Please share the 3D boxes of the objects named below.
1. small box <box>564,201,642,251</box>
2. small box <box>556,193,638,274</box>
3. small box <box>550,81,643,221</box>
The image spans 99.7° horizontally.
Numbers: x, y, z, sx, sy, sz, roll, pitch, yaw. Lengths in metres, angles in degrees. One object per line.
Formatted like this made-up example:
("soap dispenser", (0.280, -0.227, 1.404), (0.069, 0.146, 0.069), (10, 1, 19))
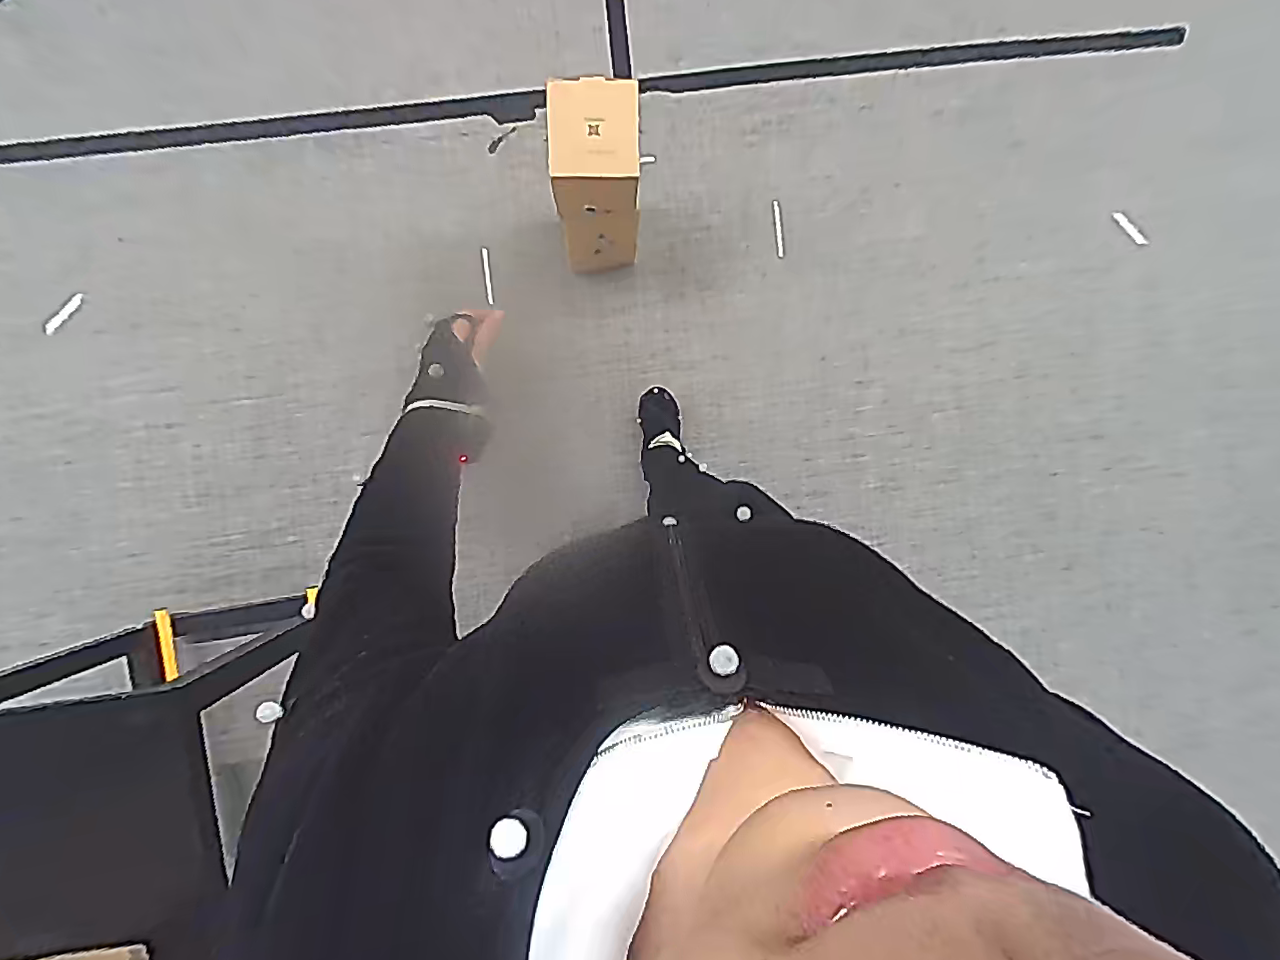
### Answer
("small box", (-0.091, -0.637, 1.207), (0.168, 0.176, 0.179), (-7, 93, -3))
("small box", (-0.105, -0.641, 1.371), (0.179, 0.176, 0.168), (-11, 92, -3))
("small box", (-0.082, -0.625, 1.044), (0.168, 0.176, 0.179), (-2, 93, -2))
